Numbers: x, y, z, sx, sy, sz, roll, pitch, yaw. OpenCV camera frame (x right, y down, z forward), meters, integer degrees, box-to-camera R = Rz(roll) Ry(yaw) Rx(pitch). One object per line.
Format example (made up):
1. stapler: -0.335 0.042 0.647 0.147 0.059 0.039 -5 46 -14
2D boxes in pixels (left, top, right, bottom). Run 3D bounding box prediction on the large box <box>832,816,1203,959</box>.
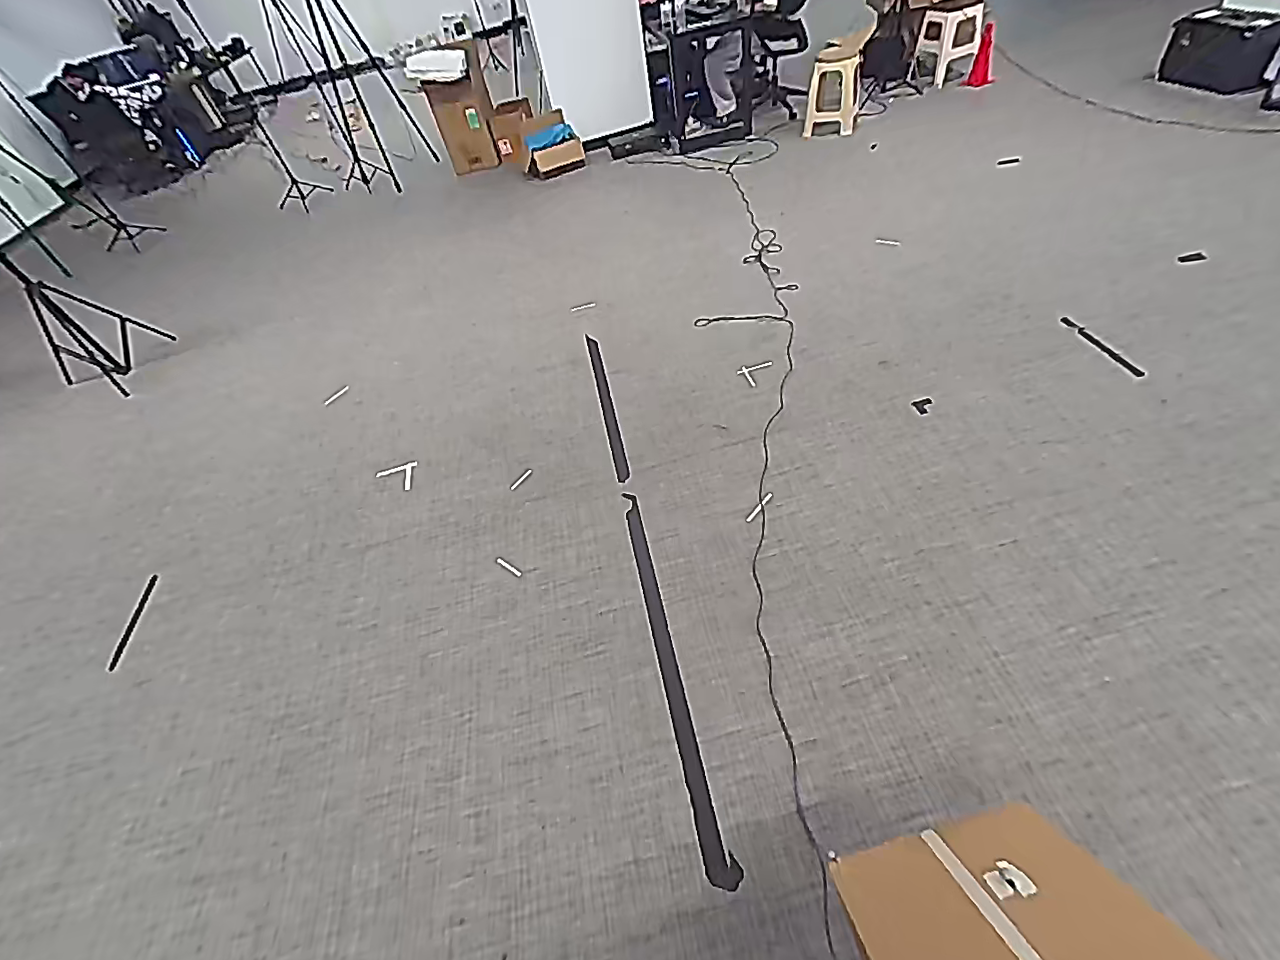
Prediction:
1. large box: 0.476 0.682 0.613 0.320 0.408 0.320 -17 85 1
